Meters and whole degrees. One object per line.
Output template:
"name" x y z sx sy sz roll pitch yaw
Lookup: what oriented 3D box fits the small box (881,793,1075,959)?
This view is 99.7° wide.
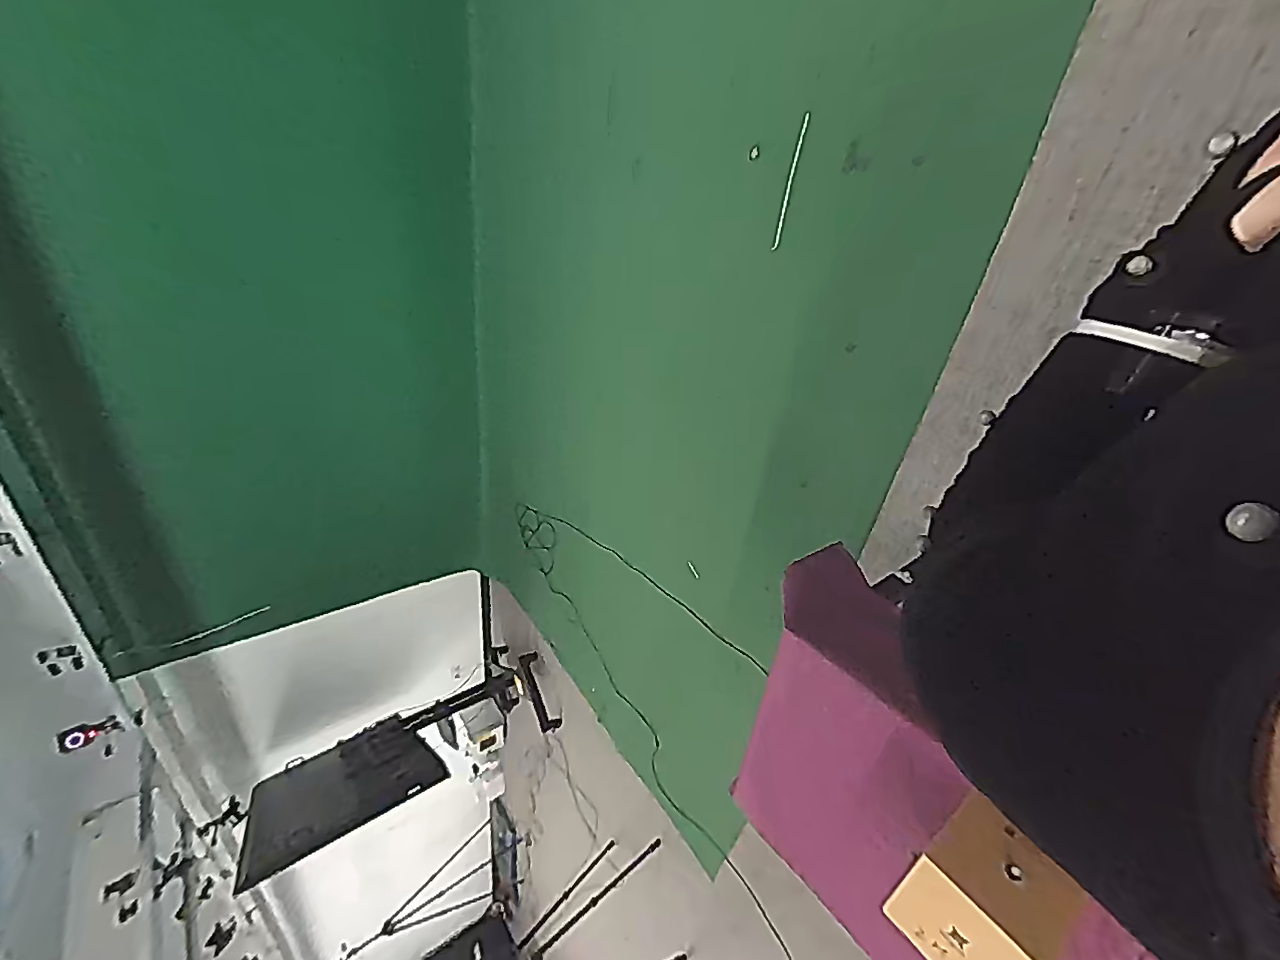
"small box" 0.502 0.615 0.804 0.168 0.176 0.179 38 132 40
